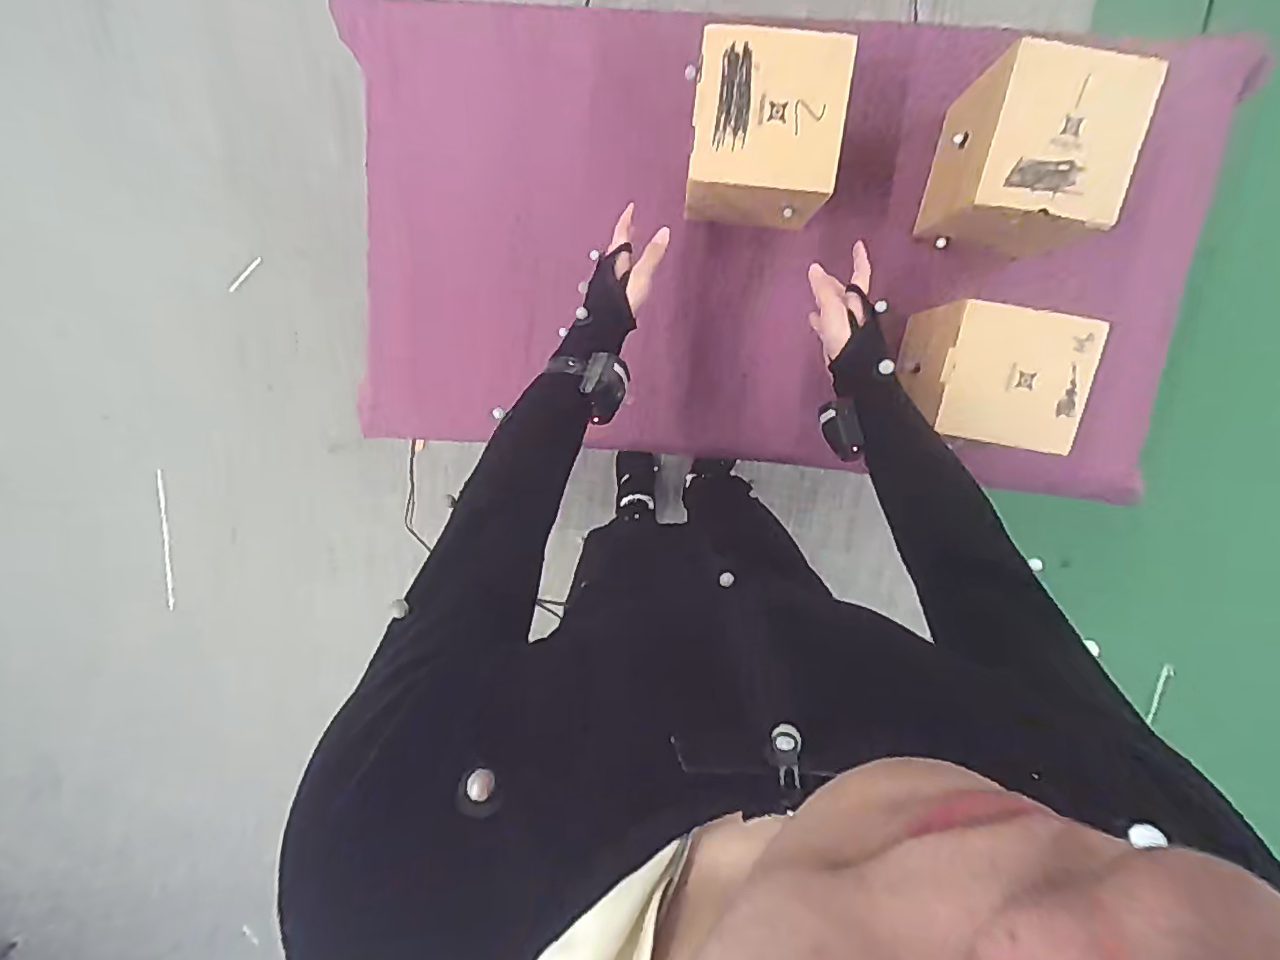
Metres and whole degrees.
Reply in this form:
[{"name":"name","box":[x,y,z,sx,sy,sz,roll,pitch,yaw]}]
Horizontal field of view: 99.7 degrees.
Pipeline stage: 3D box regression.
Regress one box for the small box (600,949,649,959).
[{"name":"small box","box":[-0.067,1.771,1.860,0.179,0.176,0.168,7,102,2]}]

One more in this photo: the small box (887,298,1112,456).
[{"name":"small box","box":[0.465,-0.135,0.735,0.179,0.176,0.168,11,100,2]}]

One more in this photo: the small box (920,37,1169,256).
[{"name":"small box","box":[0.486,-0.401,0.685,0.168,0.176,0.179,12,100,1]}]

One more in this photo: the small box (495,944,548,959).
[{"name":"small box","box":[-0.423,1.737,1.873,0.179,0.176,0.168,6,100,3]}]
